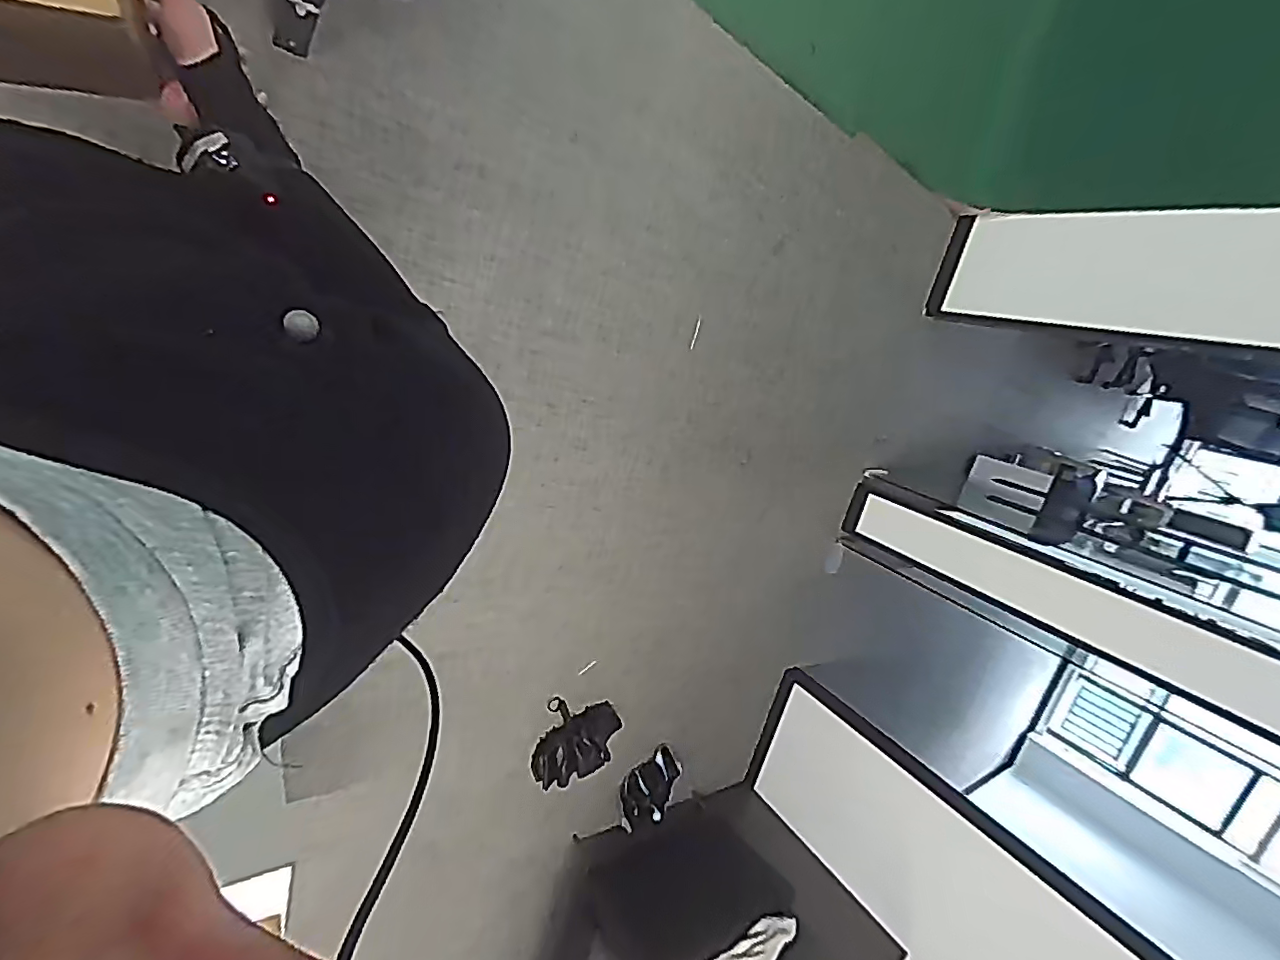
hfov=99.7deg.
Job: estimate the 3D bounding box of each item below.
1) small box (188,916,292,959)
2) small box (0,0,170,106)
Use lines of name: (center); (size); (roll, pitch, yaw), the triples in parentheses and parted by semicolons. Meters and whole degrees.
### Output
small box: (-0.781, 1.007, 1.041); (0.179, 0.176, 0.168); (3, 109, -38)
small box: (-0.438, -0.361, 0.339); (0.179, 0.176, 0.168); (-14, 112, -31)
